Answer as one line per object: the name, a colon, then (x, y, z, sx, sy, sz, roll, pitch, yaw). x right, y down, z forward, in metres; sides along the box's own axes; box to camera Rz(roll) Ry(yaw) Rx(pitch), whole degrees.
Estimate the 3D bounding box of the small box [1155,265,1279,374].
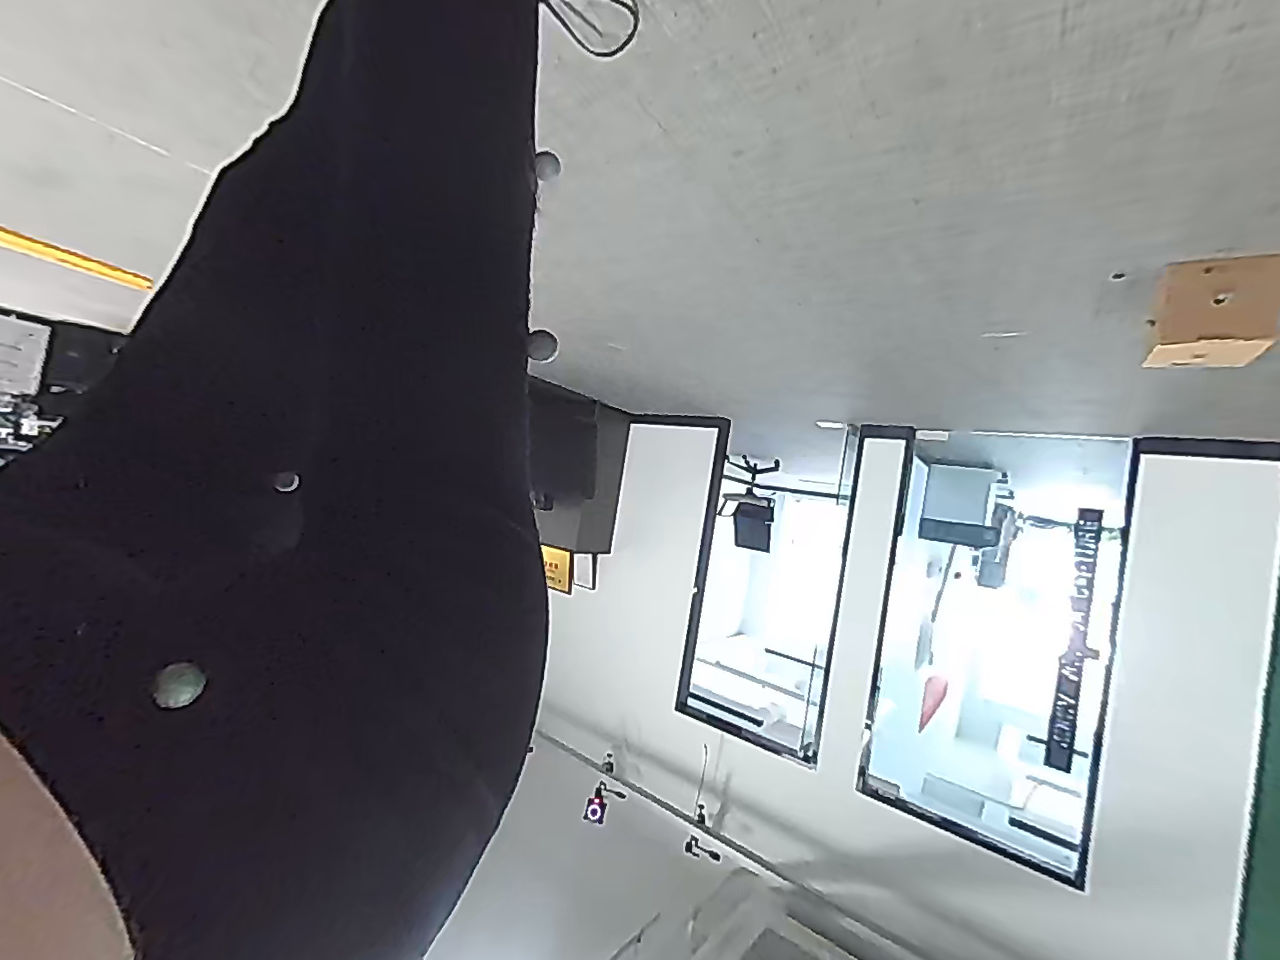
small box: (1.181, -0.322, 1.097, 0.168, 0.176, 0.179, 7, 177, 35)
